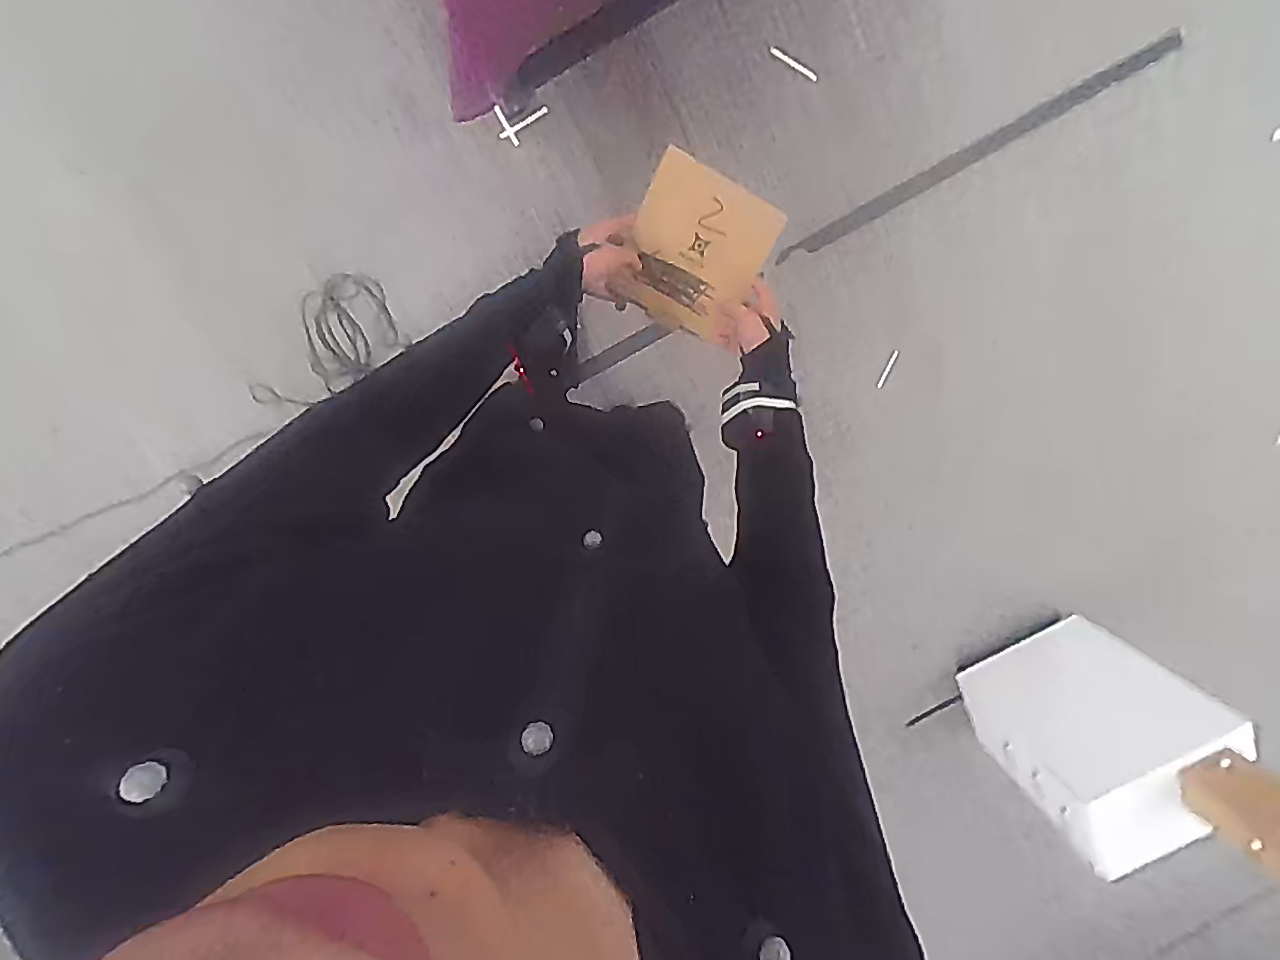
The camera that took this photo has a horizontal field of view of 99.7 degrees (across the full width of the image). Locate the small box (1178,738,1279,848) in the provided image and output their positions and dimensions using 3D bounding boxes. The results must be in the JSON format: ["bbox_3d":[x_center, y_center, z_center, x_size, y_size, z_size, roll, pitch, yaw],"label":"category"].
[{"bbox_3d":[1.658,0.863,1.502,0.168,0.176,0.179,-28,111,1],"label":"small box"}]
